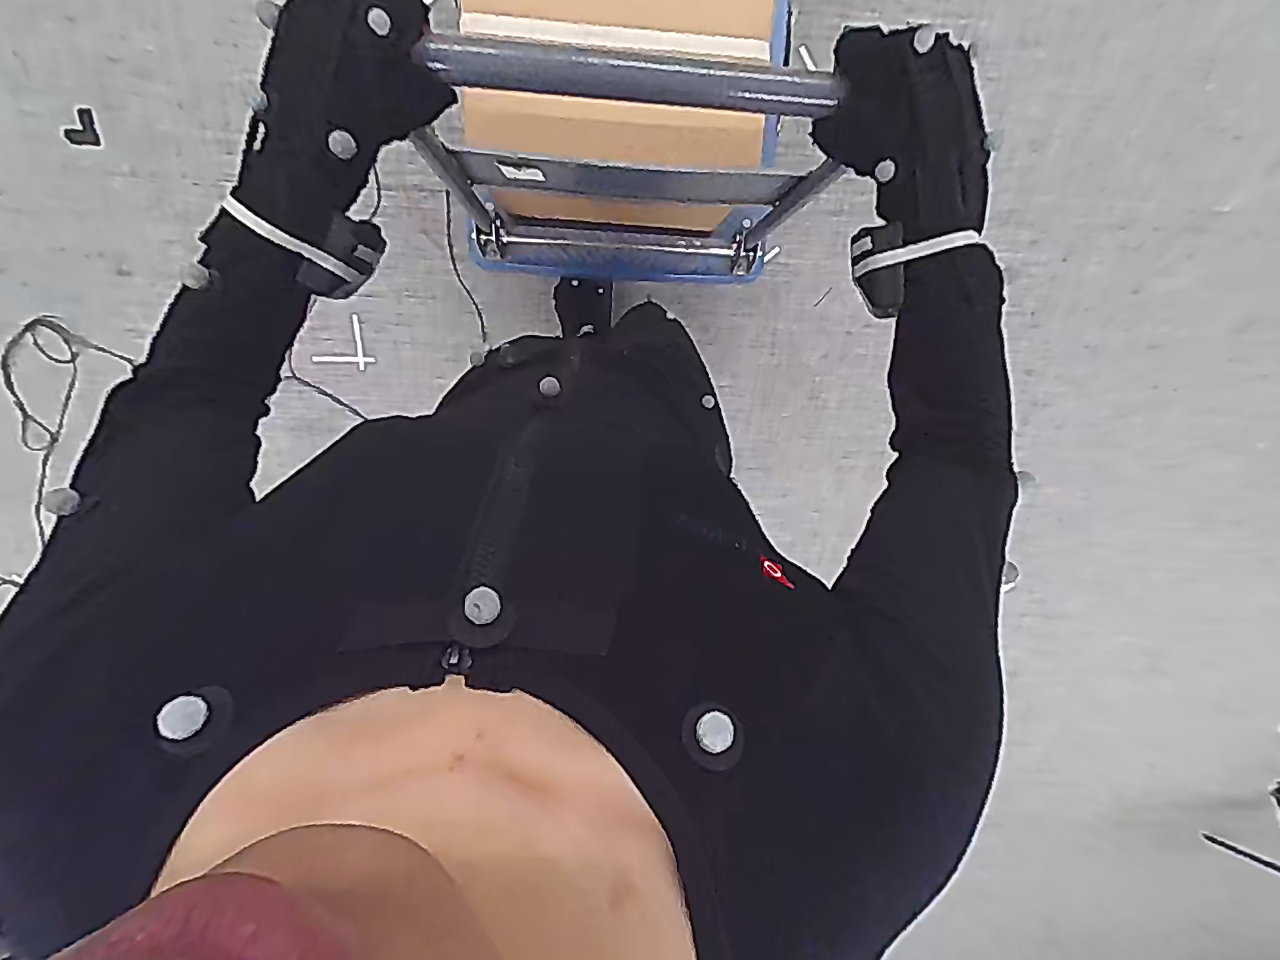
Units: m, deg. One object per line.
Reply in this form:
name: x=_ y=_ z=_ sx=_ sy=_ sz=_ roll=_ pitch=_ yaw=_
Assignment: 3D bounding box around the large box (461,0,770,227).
large box: x=-0.043 y=-0.605 z=0.848 sx=0.408 sy=0.320 sz=0.320 roll=2 pitch=104 yaw=-5
